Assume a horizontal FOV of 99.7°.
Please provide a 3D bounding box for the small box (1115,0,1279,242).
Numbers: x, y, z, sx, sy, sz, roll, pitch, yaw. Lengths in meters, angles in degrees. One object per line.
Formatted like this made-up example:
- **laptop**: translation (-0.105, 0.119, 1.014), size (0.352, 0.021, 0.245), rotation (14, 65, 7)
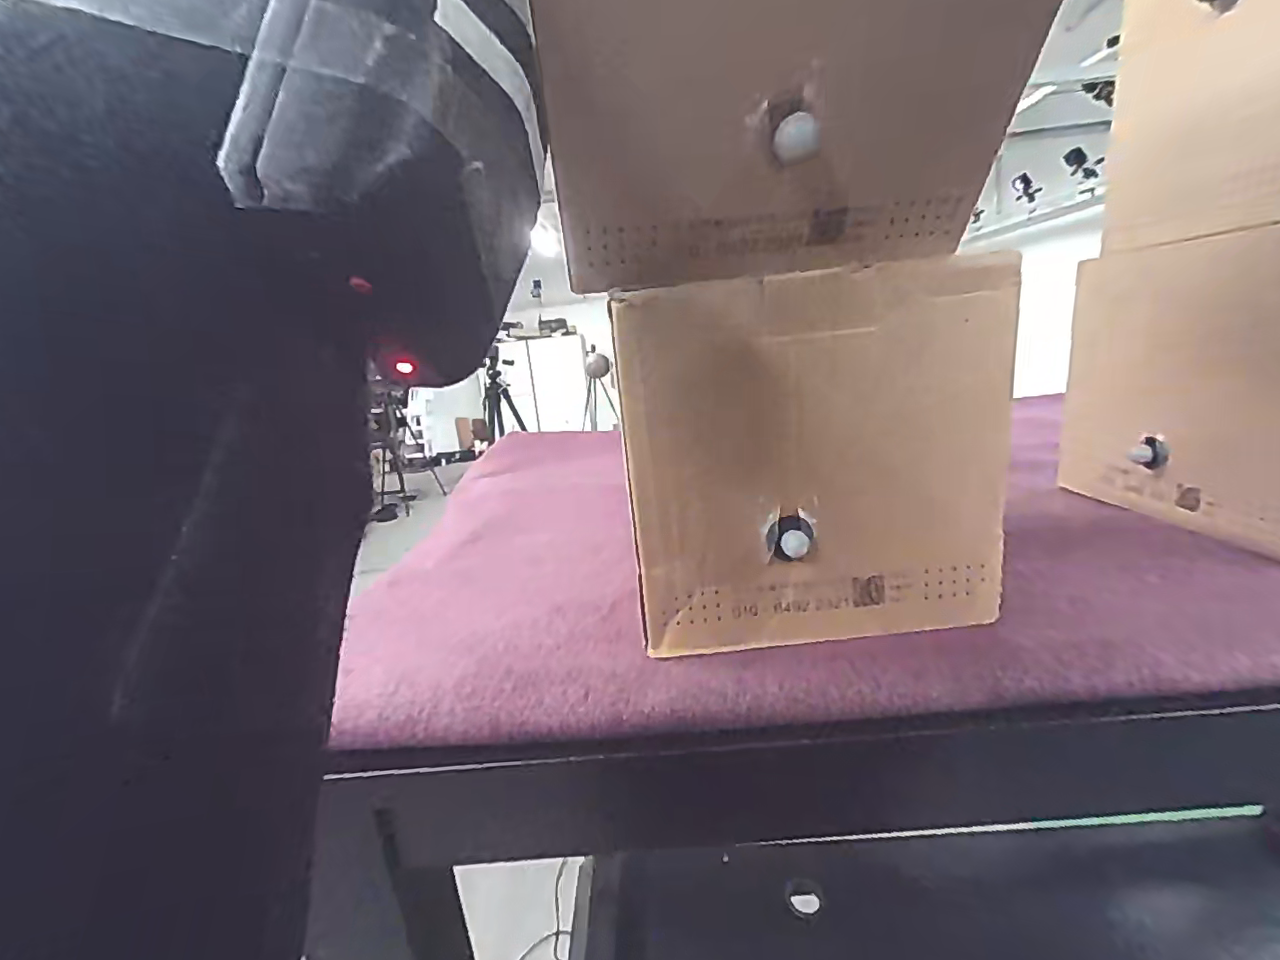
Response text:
- **small box**: translation (0.387, -0.225, 0.267), size (0.168, 0.176, 0.179), rotation (-5, 15, 6)

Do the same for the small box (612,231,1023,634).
- **small box**: translation (0.073, -0.032, 0.312), size (0.168, 0.176, 0.179), rotation (-6, 15, -1)

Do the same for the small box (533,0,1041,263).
- **small box**: translation (0.041, -0.212, 0.222), size (0.168, 0.176, 0.179), rotation (-6, 50, -2)
